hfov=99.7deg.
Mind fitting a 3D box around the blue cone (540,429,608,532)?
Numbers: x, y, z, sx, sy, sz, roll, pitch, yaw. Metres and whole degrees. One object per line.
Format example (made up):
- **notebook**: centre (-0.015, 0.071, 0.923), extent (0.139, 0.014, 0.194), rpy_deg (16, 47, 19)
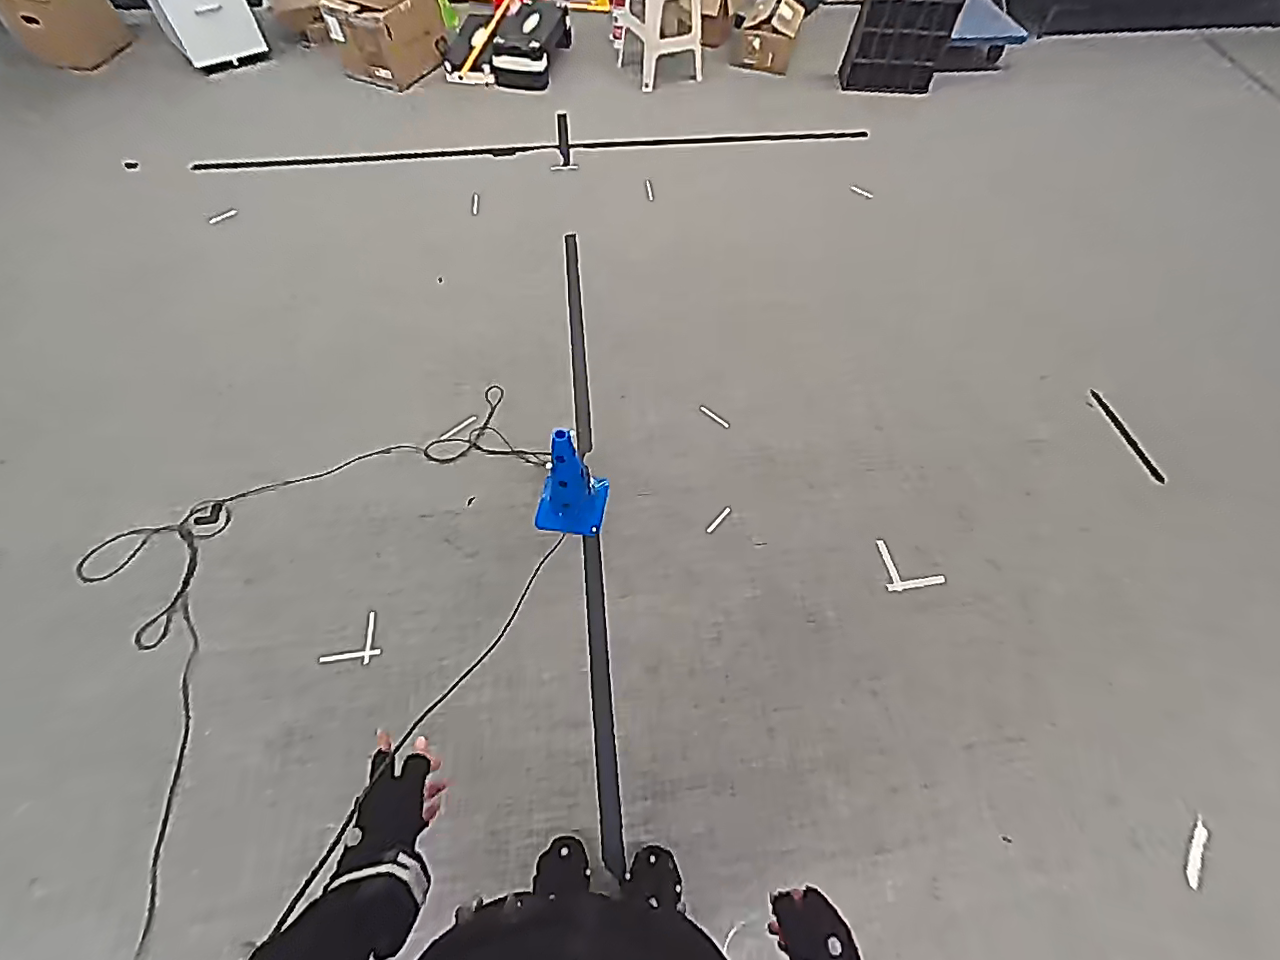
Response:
- **blue cone**: centre (-0.195, -0.020, 1.515), extent (0.192, 0.380, 0.193), rpy_deg (10, 59, 3)
